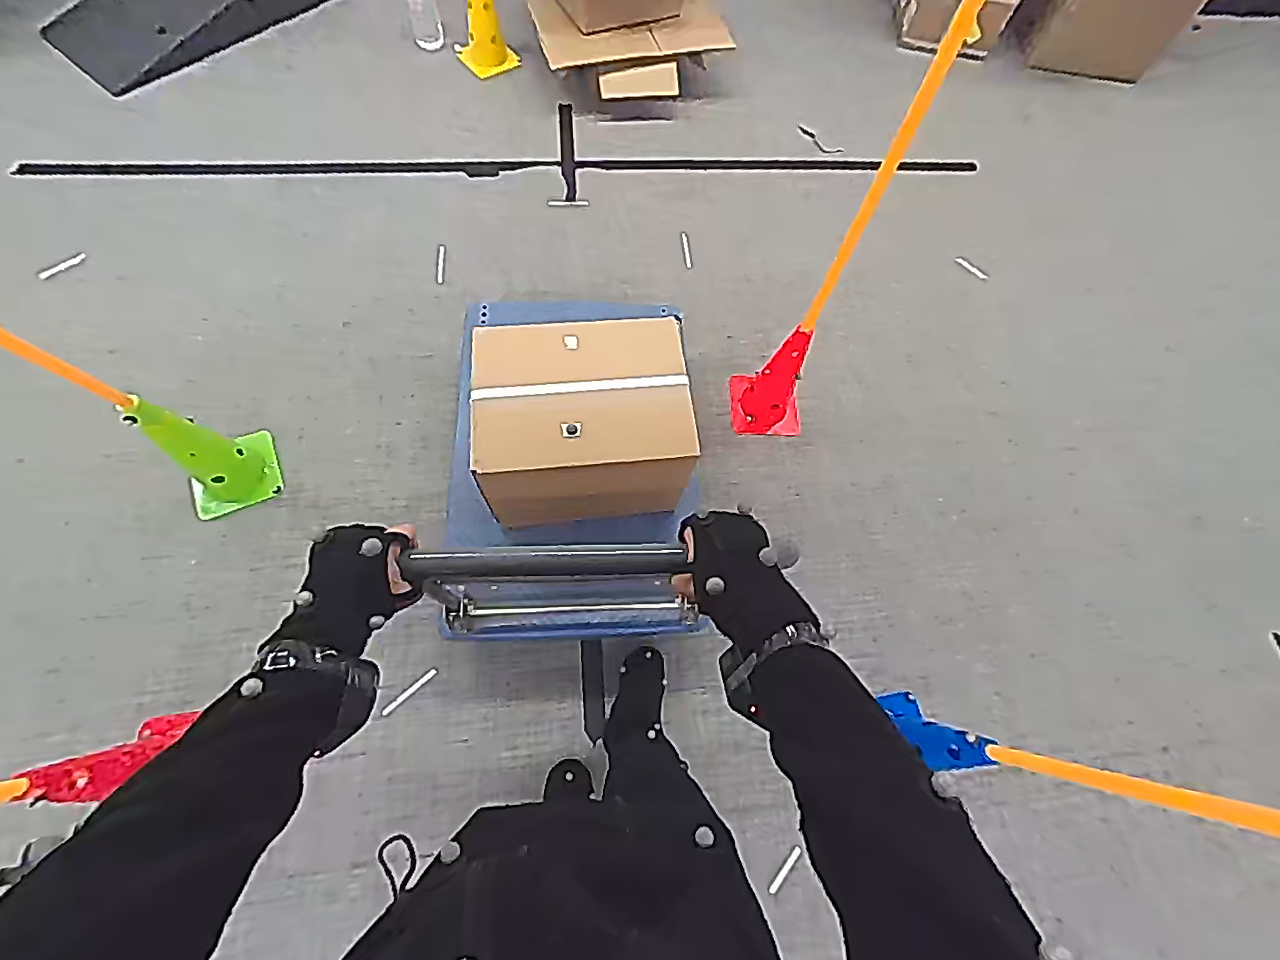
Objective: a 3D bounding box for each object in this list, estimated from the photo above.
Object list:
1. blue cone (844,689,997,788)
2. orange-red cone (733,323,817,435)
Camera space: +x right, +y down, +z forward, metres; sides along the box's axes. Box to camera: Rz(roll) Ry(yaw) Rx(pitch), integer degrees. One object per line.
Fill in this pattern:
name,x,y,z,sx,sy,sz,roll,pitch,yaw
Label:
blue cone,0.601,0.538,1.116,0.193,0.380,0.192,-7,67,-8
orange-red cone,0.387,-0.289,1.434,0.199,0.360,0.198,3,67,-5
